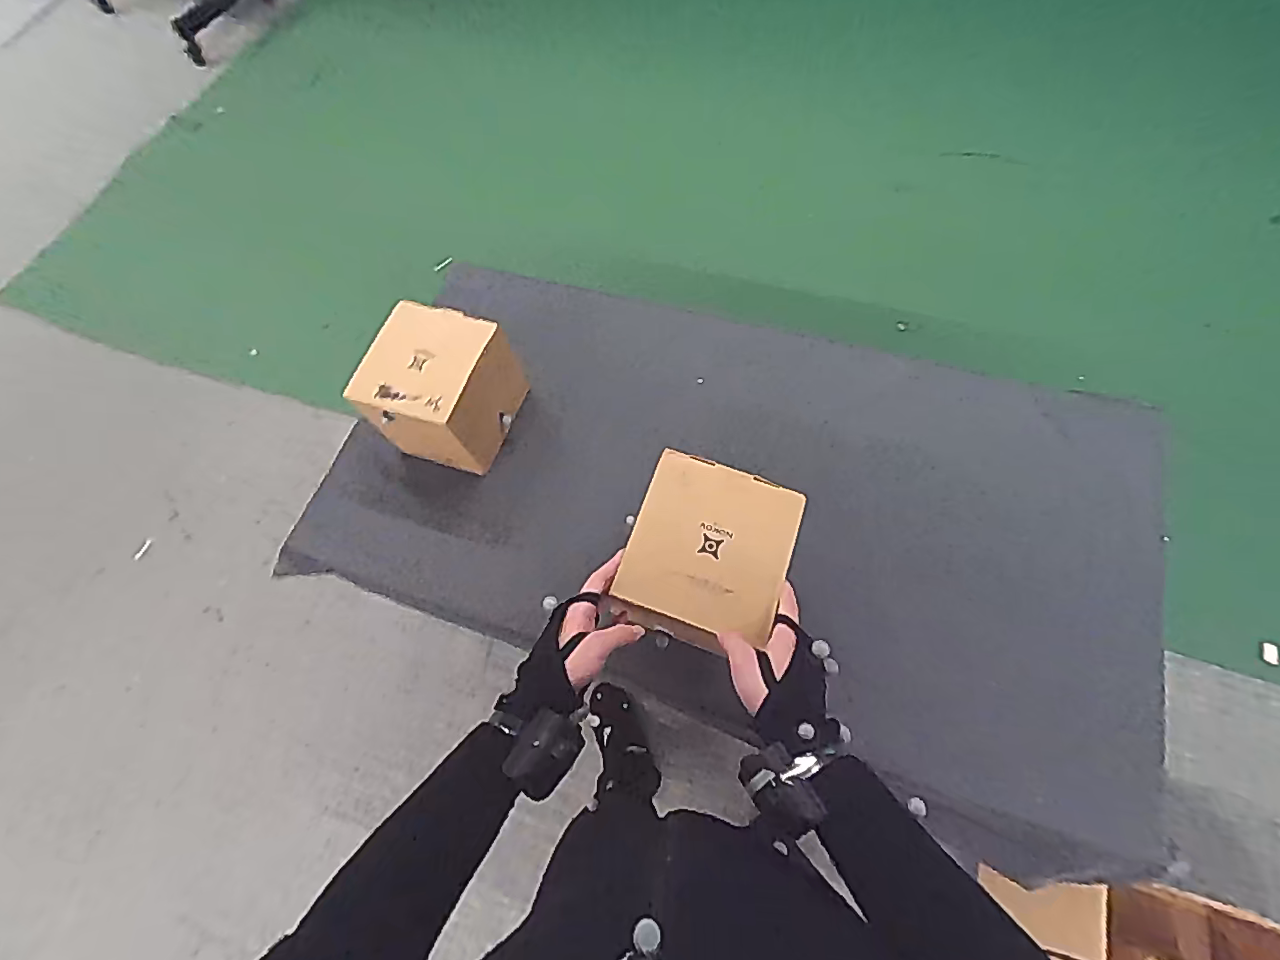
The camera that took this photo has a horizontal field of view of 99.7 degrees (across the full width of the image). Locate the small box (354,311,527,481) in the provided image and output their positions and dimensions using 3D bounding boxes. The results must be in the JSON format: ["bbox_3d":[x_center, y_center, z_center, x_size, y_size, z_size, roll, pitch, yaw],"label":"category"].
[{"bbox_3d":[-0.292,-0.125,0.842,0.168,0.176,0.179,16,67,12],"label":"small box"}]

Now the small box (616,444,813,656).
[{"bbox_3d":[0.077,0.089,0.625,0.168,0.176,0.179,19,70,6],"label":"small box"}]
